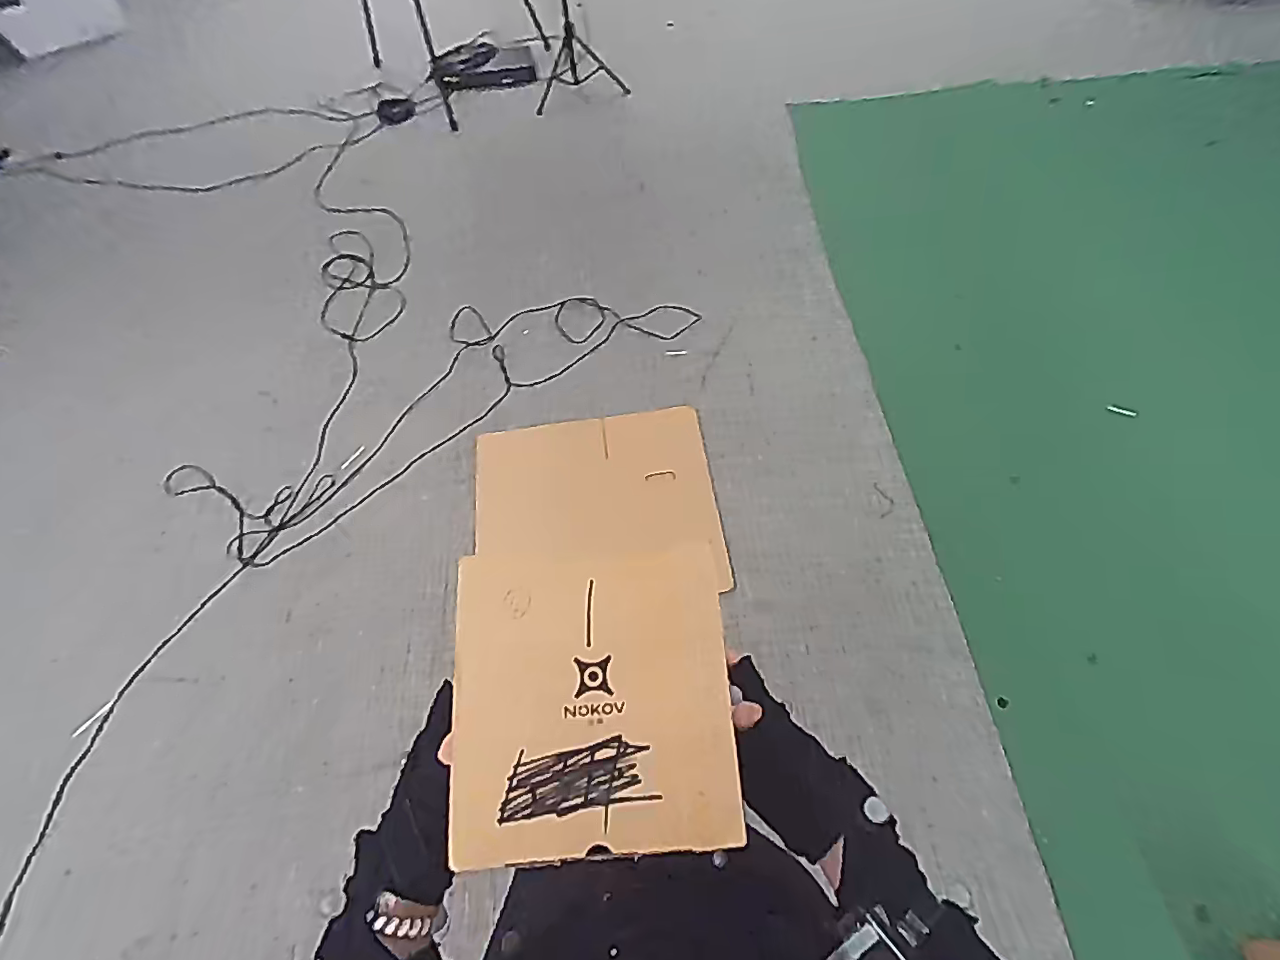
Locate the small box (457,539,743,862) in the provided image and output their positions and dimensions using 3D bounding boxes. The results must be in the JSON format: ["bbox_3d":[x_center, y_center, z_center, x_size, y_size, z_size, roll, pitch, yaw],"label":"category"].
[{"bbox_3d":[-0.027,0.149,0.403,0.168,0.176,0.179,-4,72,-2],"label":"small box"}]
